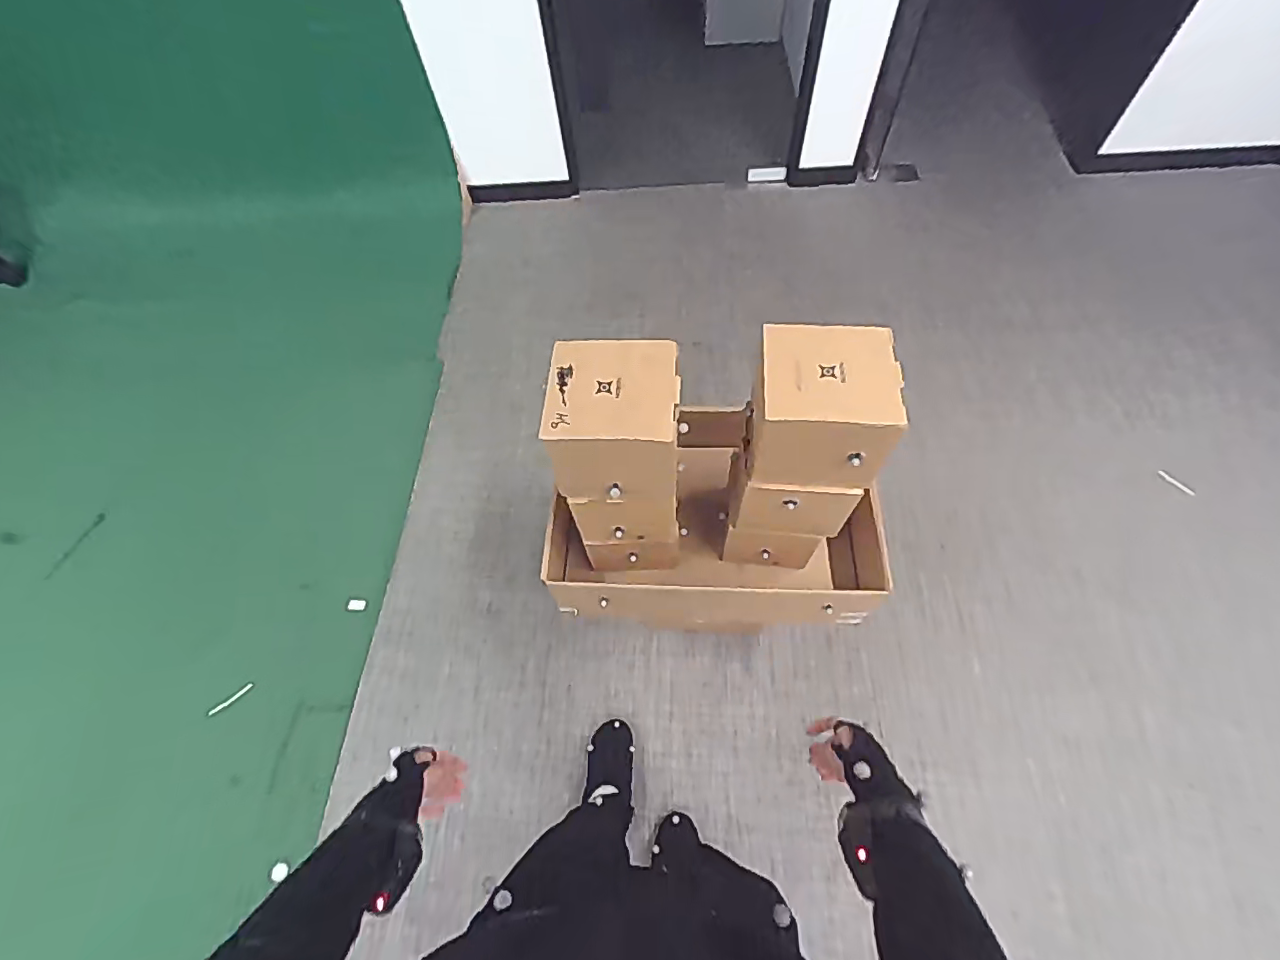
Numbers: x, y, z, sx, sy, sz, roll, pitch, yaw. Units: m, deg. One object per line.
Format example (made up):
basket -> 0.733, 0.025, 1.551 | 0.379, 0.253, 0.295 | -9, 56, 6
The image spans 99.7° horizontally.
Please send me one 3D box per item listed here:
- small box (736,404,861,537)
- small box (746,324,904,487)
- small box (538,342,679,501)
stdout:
small box -> 0.256, -0.012, 0.913 | 0.179, 0.176, 0.168 | 4, 61, 6
small box -> 0.251, -0.100, 0.776 | 0.179, 0.176, 0.168 | 3, 60, 7
small box -> -0.034, -0.079, 0.787 | 0.179, 0.176, 0.168 | 2, 60, 5
